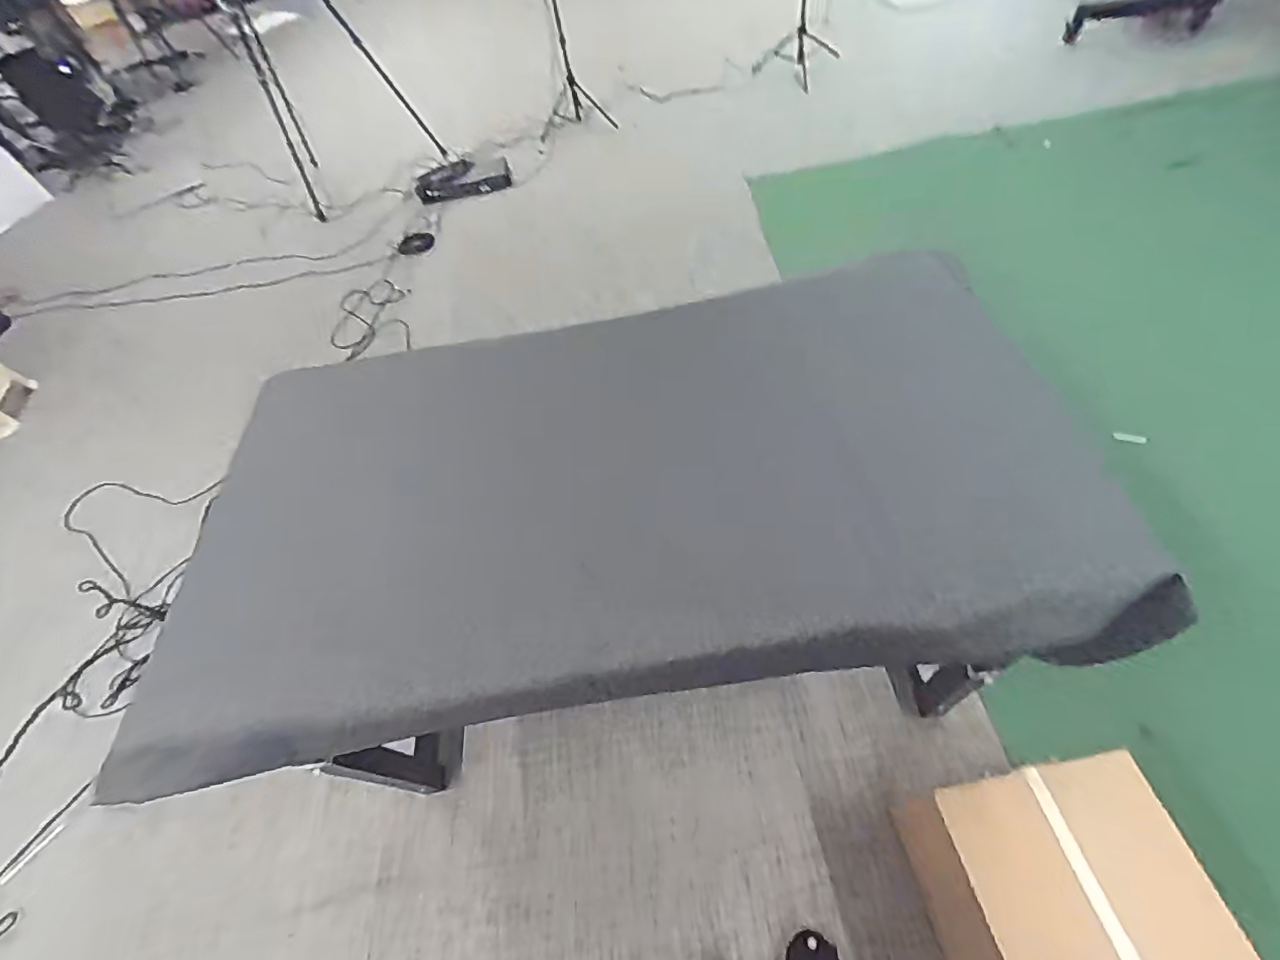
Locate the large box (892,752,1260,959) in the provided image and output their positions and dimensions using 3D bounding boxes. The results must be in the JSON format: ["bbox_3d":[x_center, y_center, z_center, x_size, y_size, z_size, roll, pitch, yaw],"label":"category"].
[{"bbox_3d":[0.664,0.697,0.851,0.320,0.320,0.408,-13,54,2],"label":"large box"}]
